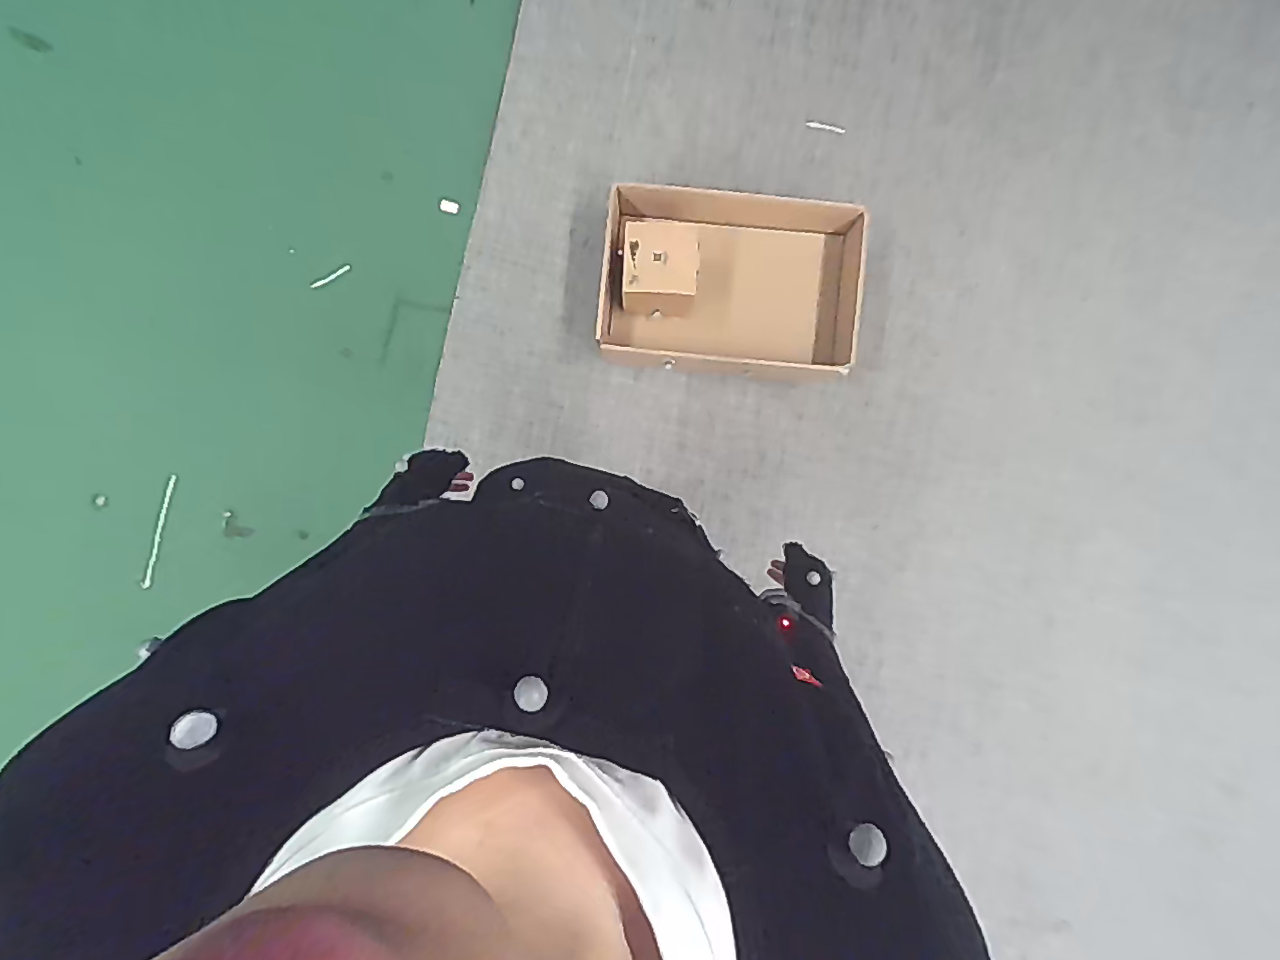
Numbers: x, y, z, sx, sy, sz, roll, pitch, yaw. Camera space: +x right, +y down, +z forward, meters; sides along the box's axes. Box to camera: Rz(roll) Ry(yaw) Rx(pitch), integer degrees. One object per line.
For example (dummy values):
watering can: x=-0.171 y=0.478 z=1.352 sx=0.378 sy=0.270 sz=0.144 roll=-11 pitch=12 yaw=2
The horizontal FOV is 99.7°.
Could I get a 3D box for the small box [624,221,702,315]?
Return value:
small box: x=0.052 y=-0.516 z=1.337 sx=0.179 sy=0.176 sz=0.168 roll=3 pitch=90 yaw=-1
